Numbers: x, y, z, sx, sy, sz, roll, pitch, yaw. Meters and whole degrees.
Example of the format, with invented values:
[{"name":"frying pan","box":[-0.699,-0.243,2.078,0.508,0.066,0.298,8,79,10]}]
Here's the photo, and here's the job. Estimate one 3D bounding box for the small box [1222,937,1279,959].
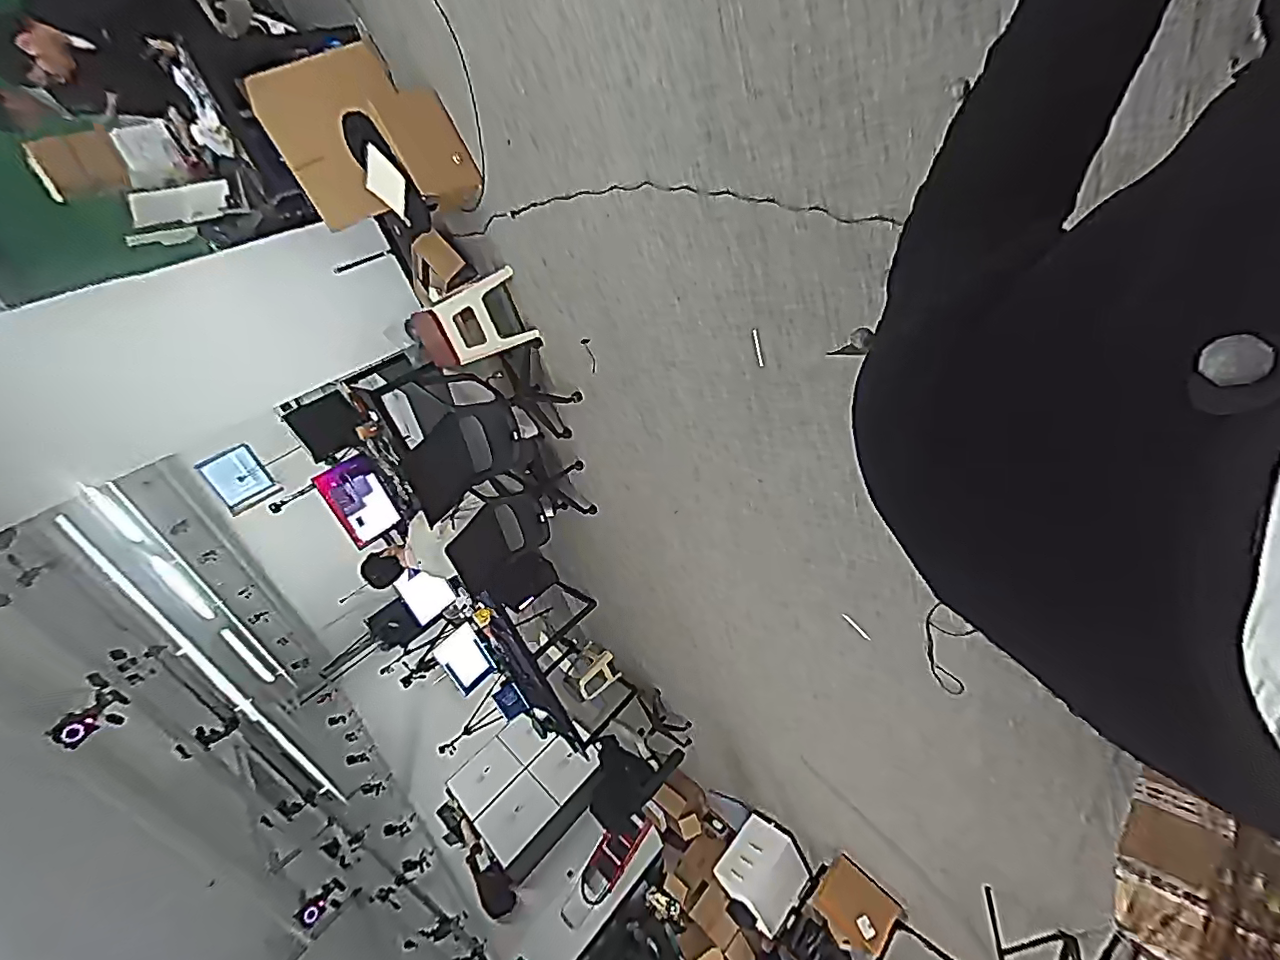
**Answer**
[{"name":"small box","box":[1.417,1.191,1.206,0.168,0.176,0.179,12,127,46]}]
